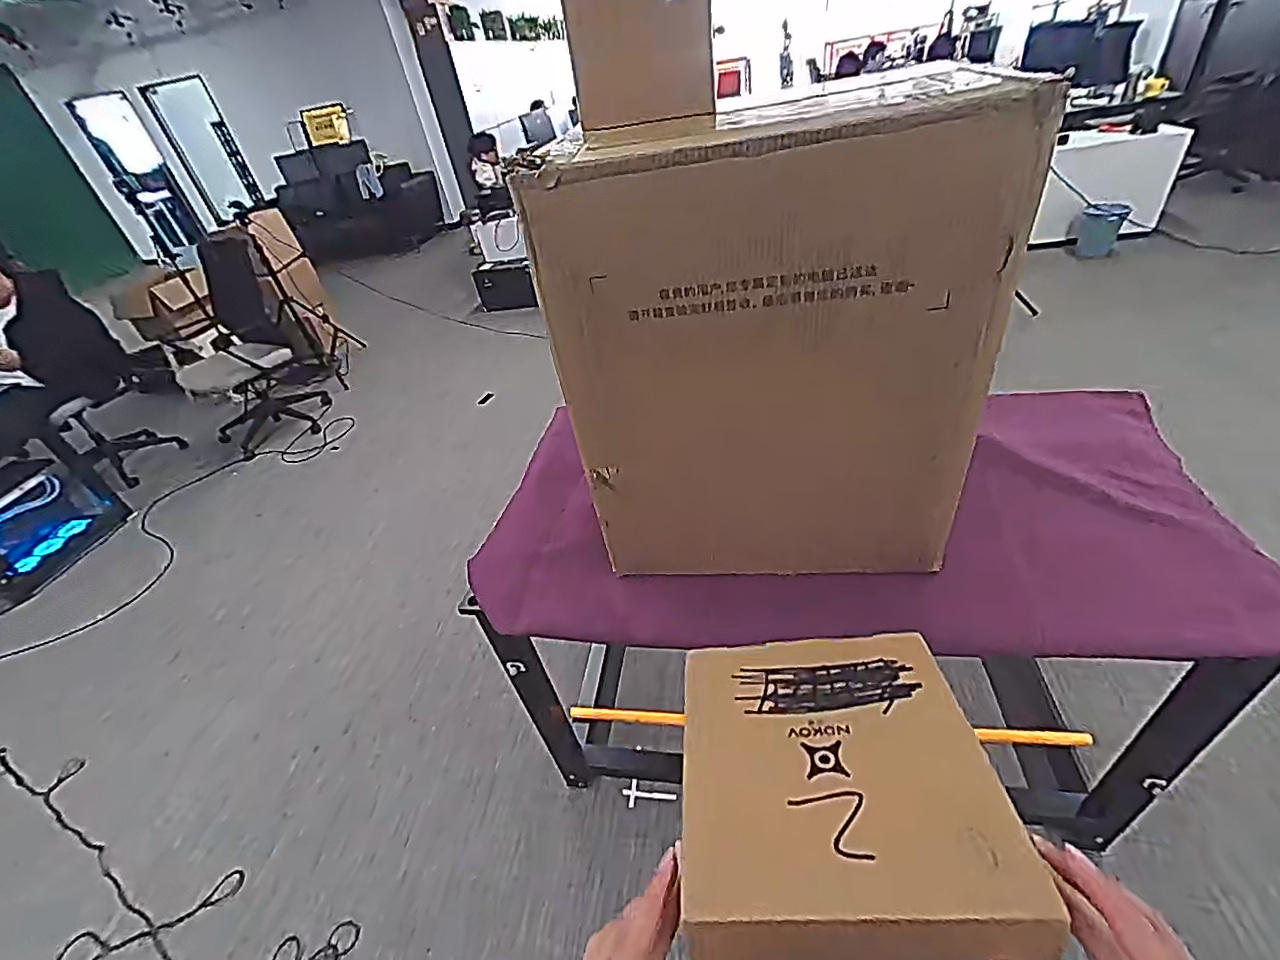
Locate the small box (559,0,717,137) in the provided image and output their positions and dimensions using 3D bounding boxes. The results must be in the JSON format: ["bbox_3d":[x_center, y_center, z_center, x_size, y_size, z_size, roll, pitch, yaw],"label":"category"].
[{"bbox_3d":[0.008,-0.561,0.698,0.179,0.176,0.168,-2,38,10],"label":"small box"}]
